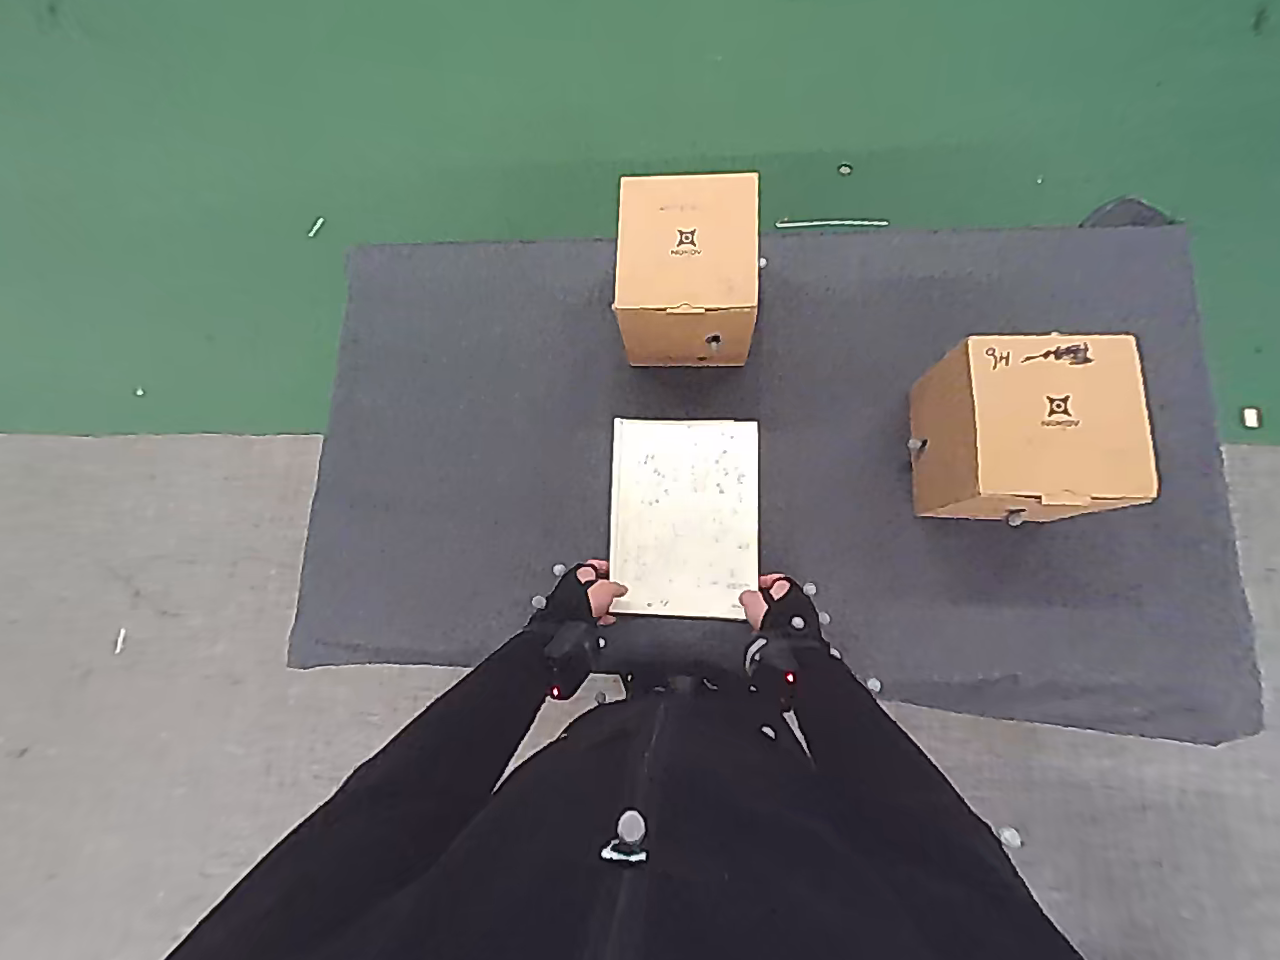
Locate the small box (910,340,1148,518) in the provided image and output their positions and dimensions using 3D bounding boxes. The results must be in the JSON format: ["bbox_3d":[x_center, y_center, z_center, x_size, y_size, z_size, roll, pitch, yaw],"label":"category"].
[{"bbox_3d":[0.433,-0.049,0.633,0.168,0.176,0.179,2,81,6],"label":"small box"}]

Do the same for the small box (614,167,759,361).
[{"bbox_3d":[0.061,-0.262,0.694,0.168,0.176,0.179,0,79,5],"label":"small box"}]
